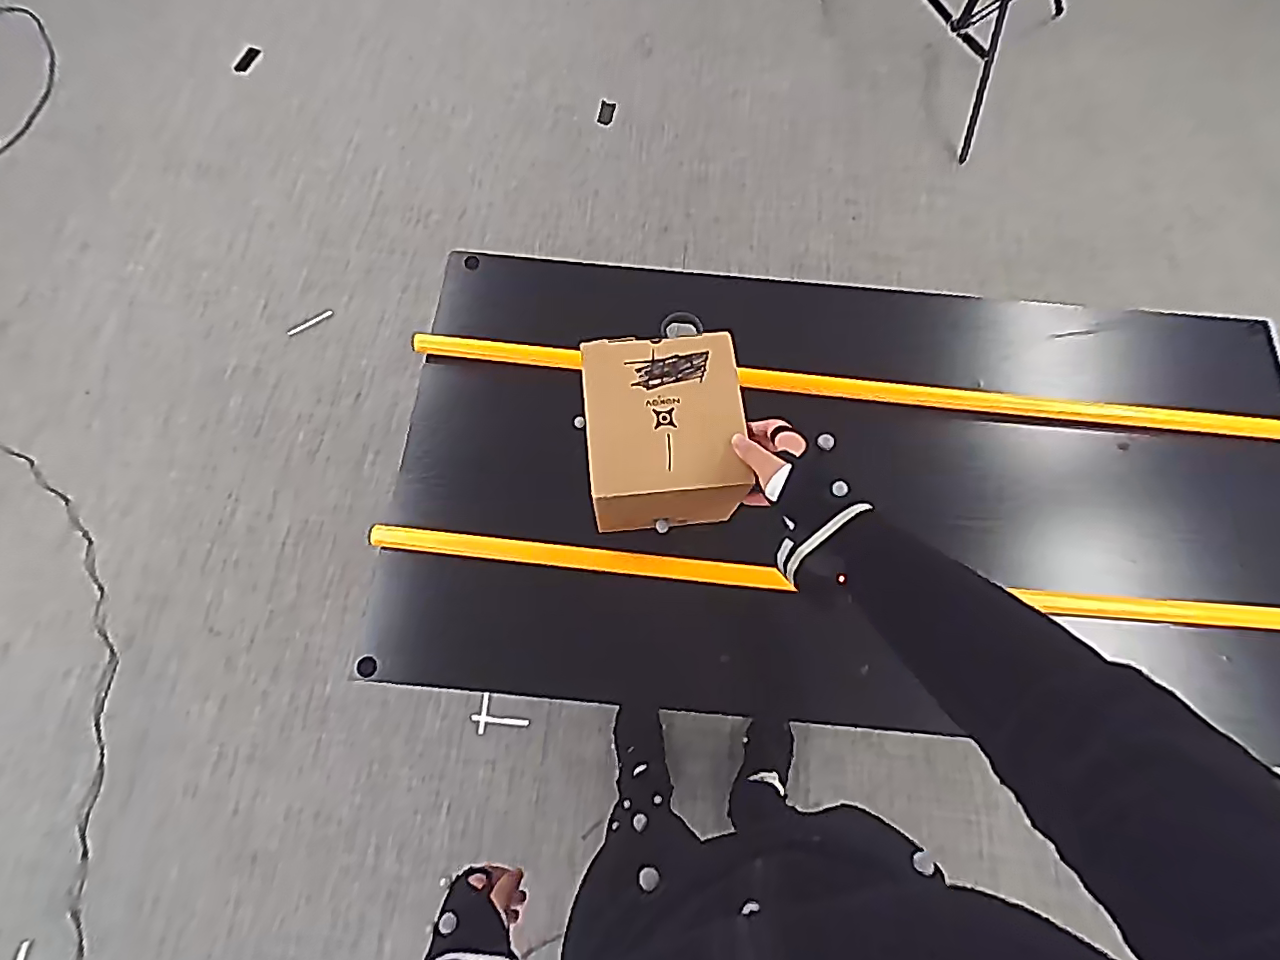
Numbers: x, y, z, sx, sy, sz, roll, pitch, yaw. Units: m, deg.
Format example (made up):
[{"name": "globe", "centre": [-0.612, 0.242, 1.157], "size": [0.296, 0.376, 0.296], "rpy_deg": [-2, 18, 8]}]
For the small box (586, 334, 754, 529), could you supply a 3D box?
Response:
[{"name": "small box", "centre": [0.025, -0.050, 0.642], "size": [0.168, 0.176, 0.179], "rpy_deg": [-5, 73, -3]}]
